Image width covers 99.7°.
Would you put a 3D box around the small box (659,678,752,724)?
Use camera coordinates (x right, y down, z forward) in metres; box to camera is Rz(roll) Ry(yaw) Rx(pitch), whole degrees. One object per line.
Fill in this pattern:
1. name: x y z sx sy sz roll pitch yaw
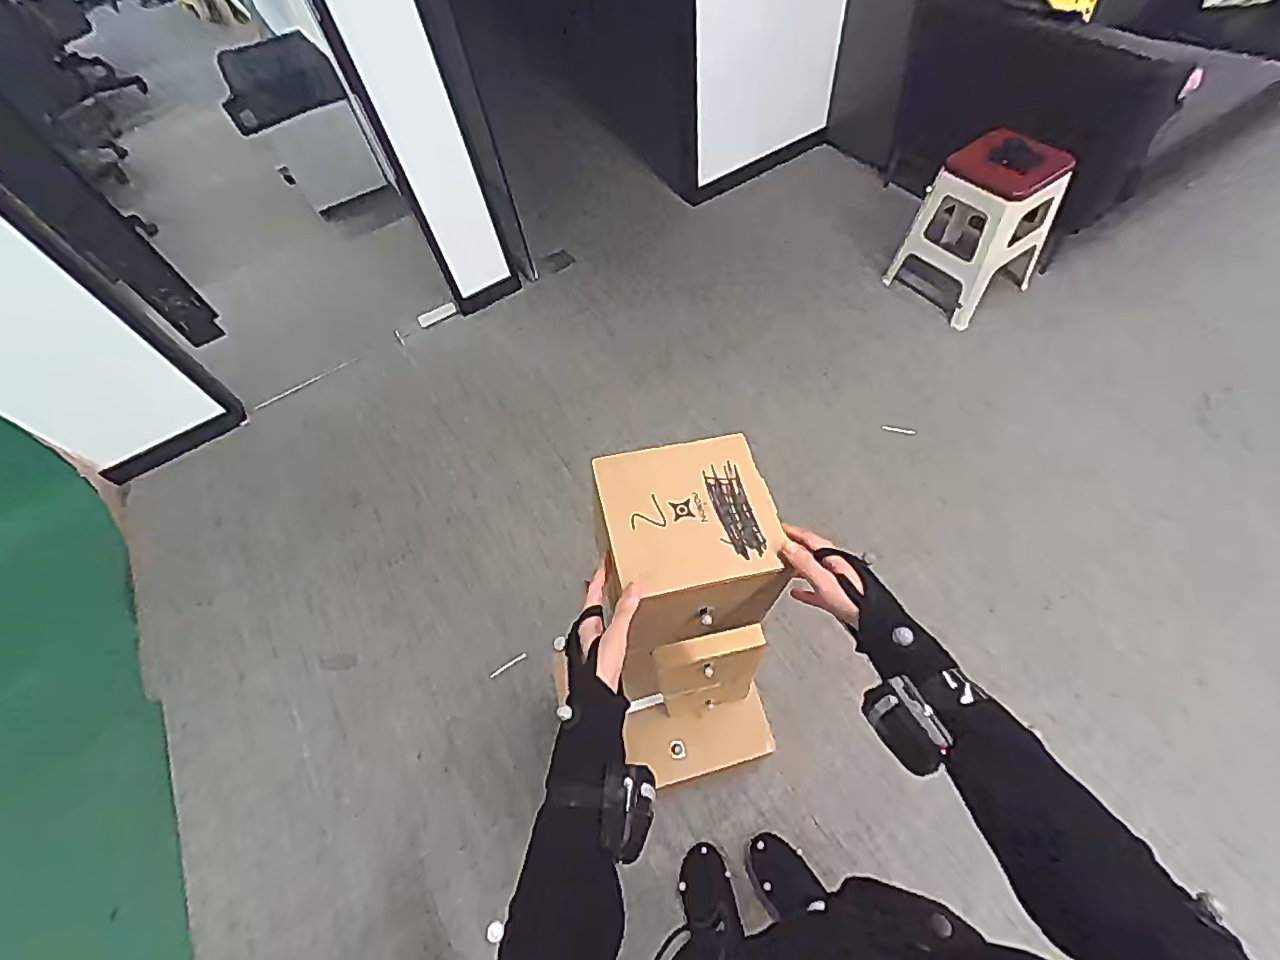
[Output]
1. small box: 0.110 0.357 1.065 0.168 0.176 0.179 -14 55 -2

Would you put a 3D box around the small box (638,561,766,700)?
1. small box: 0.102 0.263 0.933 0.179 0.176 0.168 -13 54 -1
